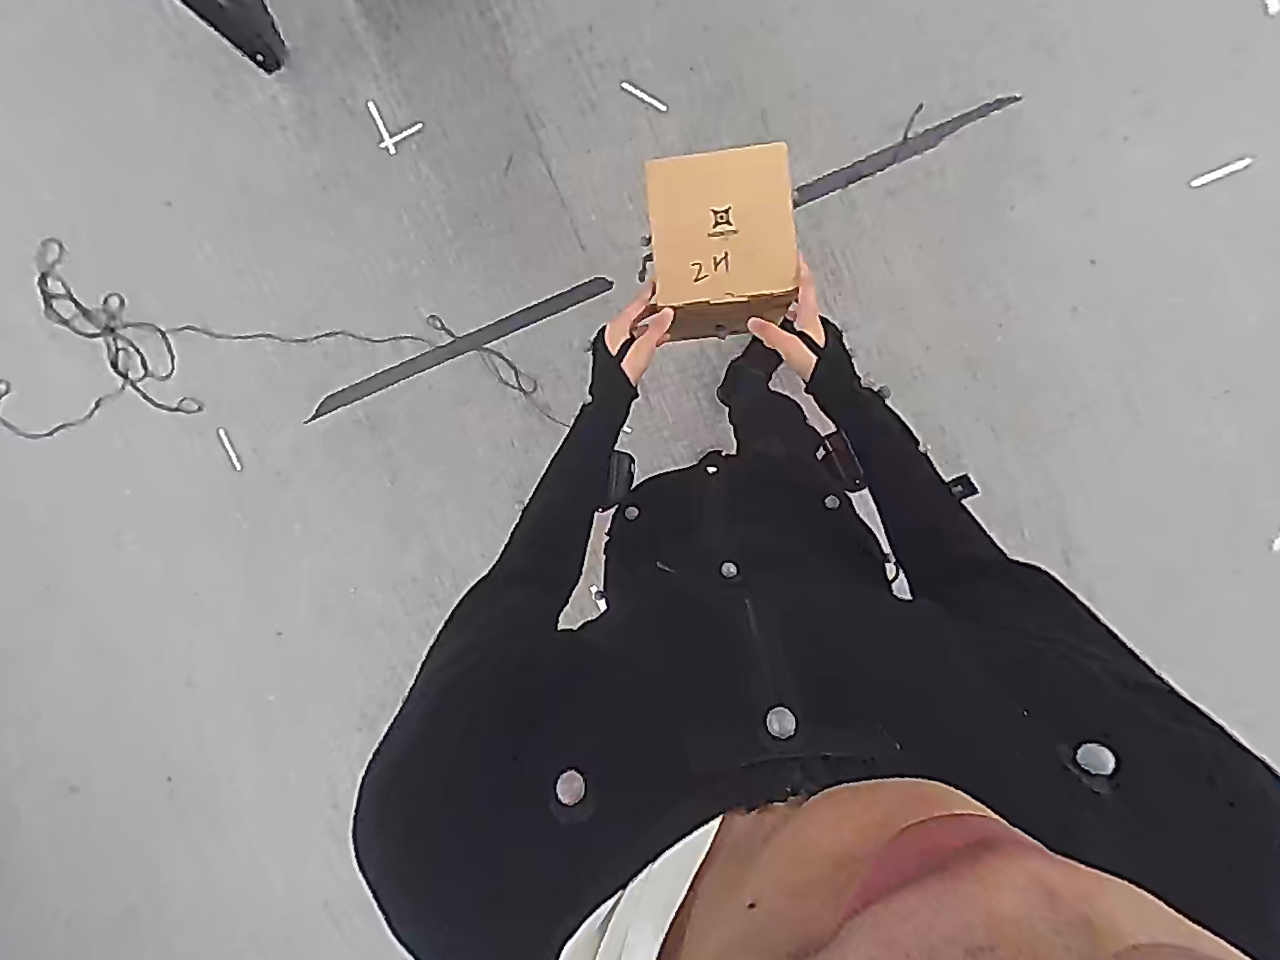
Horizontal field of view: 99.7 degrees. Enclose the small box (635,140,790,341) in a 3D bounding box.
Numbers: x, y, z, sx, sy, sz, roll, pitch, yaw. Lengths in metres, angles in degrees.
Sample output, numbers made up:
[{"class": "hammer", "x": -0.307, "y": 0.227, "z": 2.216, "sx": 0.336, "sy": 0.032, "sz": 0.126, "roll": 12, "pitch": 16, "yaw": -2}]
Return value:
[{"class": "small box", "x": 0.088, "y": -0.295, "z": 0.701, "sx": 0.168, "sy": 0.176, "sz": 0.179, "roll": -7, "pitch": 90, "yaw": 5}]
